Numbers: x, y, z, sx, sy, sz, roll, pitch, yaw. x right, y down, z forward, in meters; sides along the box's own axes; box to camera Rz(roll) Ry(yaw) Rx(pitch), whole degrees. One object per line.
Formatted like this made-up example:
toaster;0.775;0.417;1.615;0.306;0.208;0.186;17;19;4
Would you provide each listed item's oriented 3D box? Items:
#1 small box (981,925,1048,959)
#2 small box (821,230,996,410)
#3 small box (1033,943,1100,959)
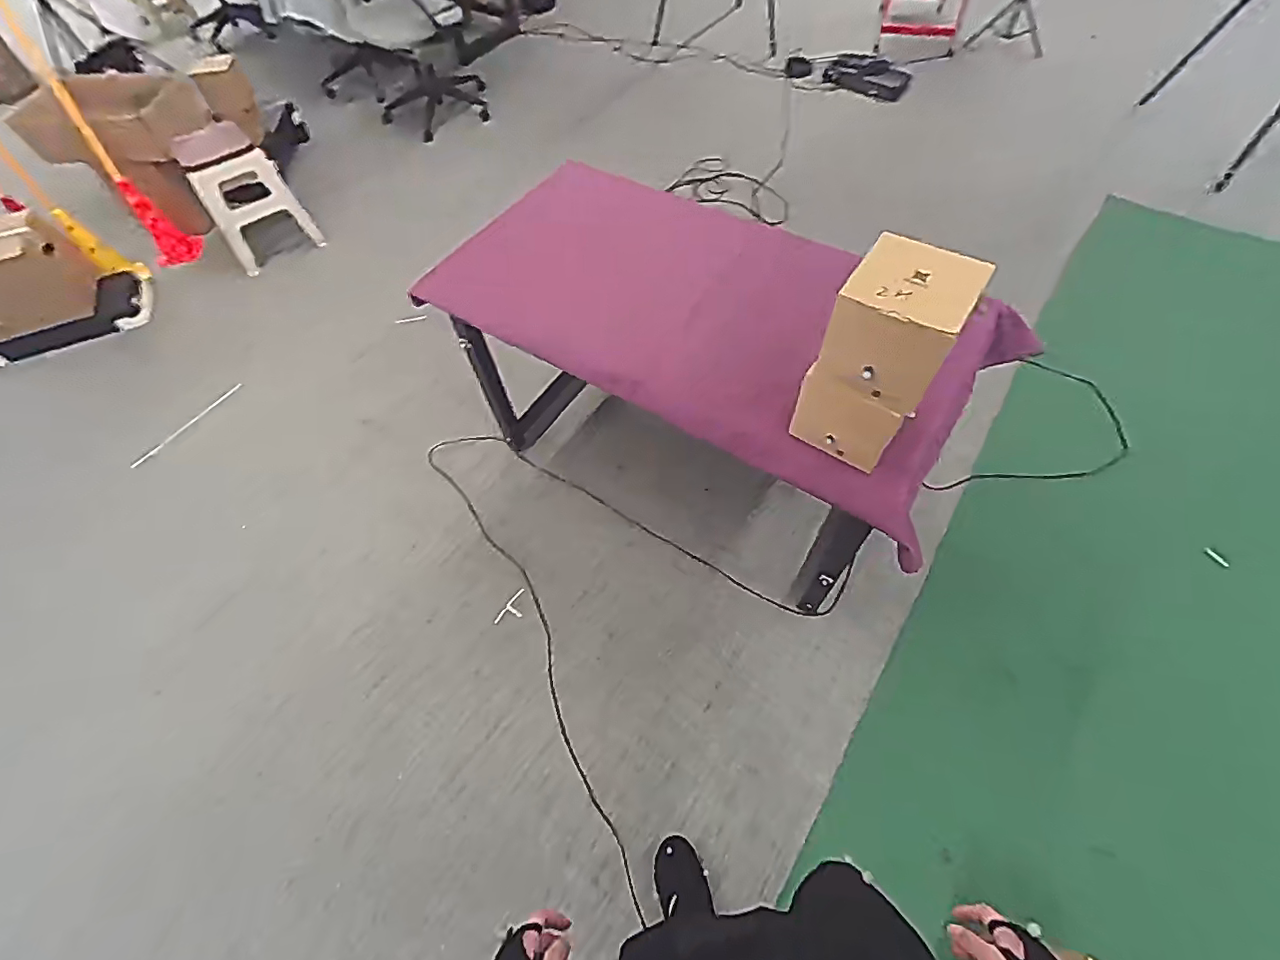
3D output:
small box;0.809;1.036;1.076;0.179;0.176;0.168;29;64;20
small box;0.399;-0.243;0.832;0.168;0.176;0.179;30;64;21
small box;0.800;0.954;0.938;0.179;0.176;0.168;30;64;18
